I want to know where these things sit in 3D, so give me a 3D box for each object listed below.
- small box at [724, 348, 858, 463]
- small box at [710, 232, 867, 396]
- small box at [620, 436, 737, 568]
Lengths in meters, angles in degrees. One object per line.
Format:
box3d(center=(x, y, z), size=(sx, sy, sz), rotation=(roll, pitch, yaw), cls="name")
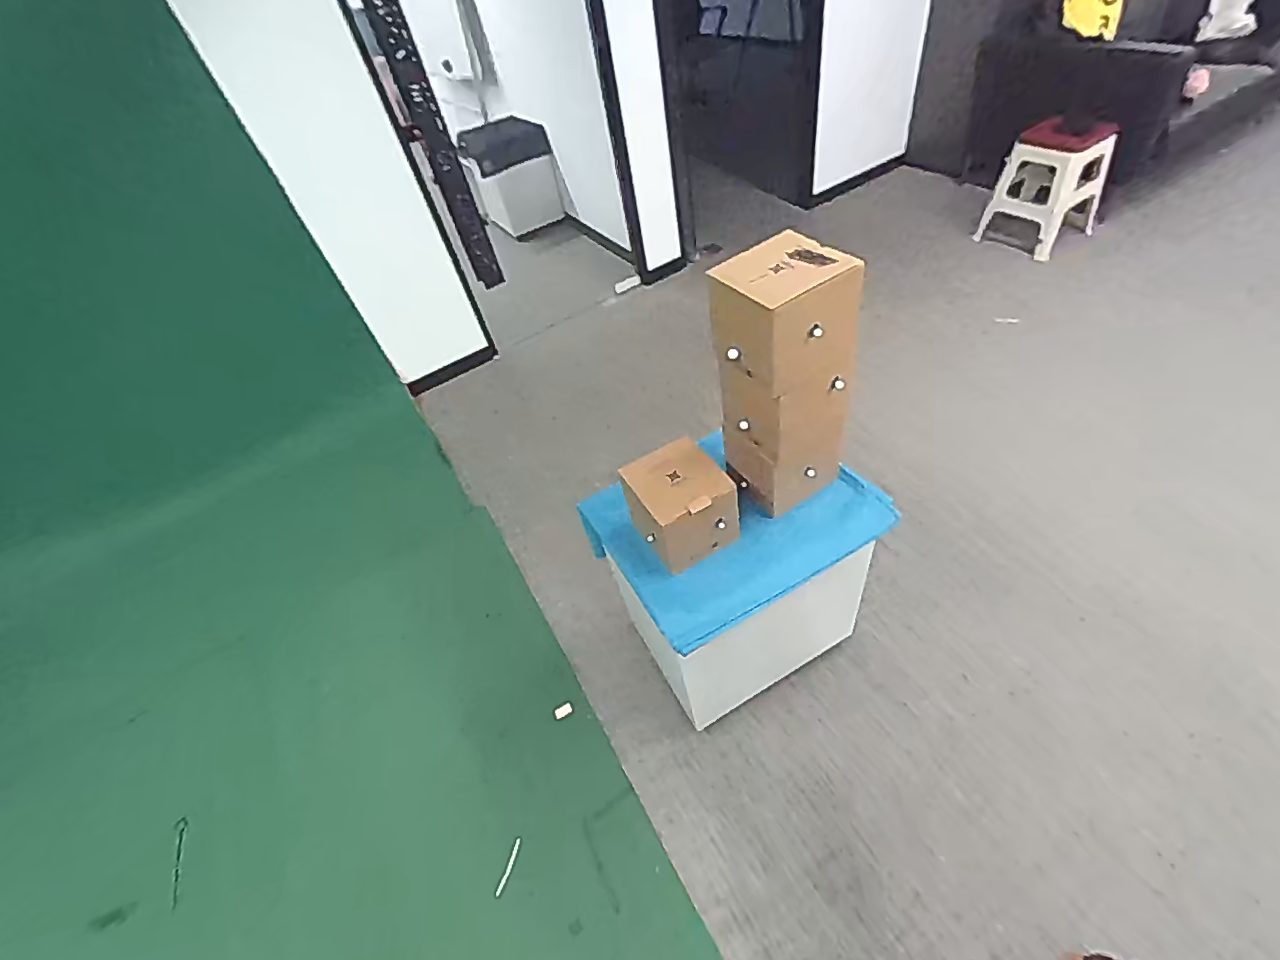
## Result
box3d(center=(0.271, -0.165, 1.003), size=(0.179, 0.176, 0.168), rotation=(-30, 48, -14), cls="small box")
box3d(center=(0.234, -0.270, 0.881), size=(0.179, 0.176, 0.168), rotation=(-30, 48, -12), cls="small box")
box3d(center=(0.081, 0.051, 1.075), size=(0.168, 0.176, 0.179), rotation=(-26, 47, -13), cls="small box")
